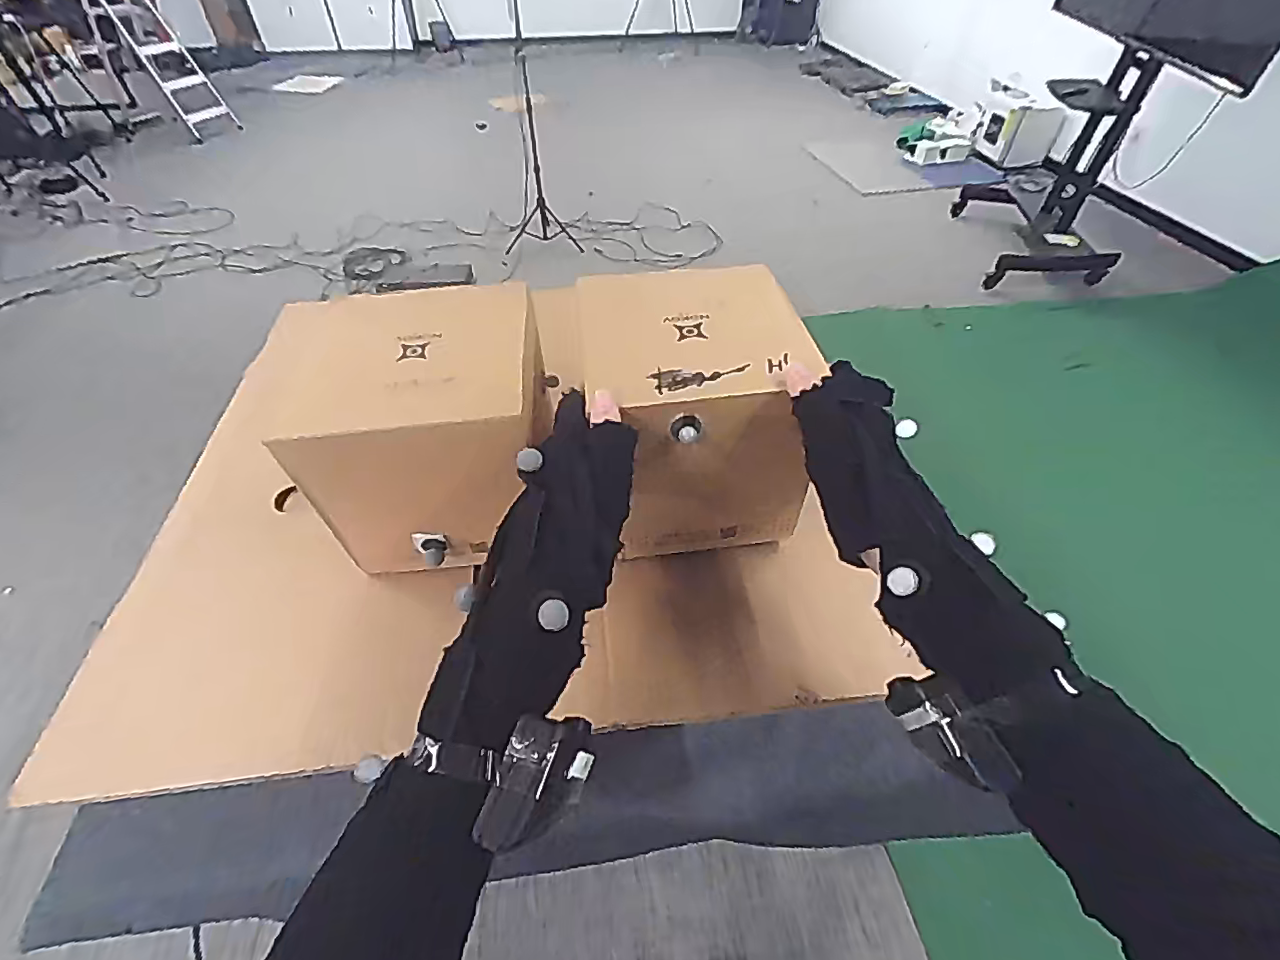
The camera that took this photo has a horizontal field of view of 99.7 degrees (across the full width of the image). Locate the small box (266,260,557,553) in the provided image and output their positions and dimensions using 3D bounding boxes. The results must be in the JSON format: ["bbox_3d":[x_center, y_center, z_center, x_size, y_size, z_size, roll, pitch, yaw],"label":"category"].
[{"bbox_3d":[-0.165,-0.062,0.460,0.168,0.176,0.179,-7,50,-4],"label":"small box"}]

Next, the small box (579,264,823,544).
[{"bbox_3d":[0.036,-0.067,0.473,0.168,0.176,0.179,-6,47,-3],"label":"small box"}]
